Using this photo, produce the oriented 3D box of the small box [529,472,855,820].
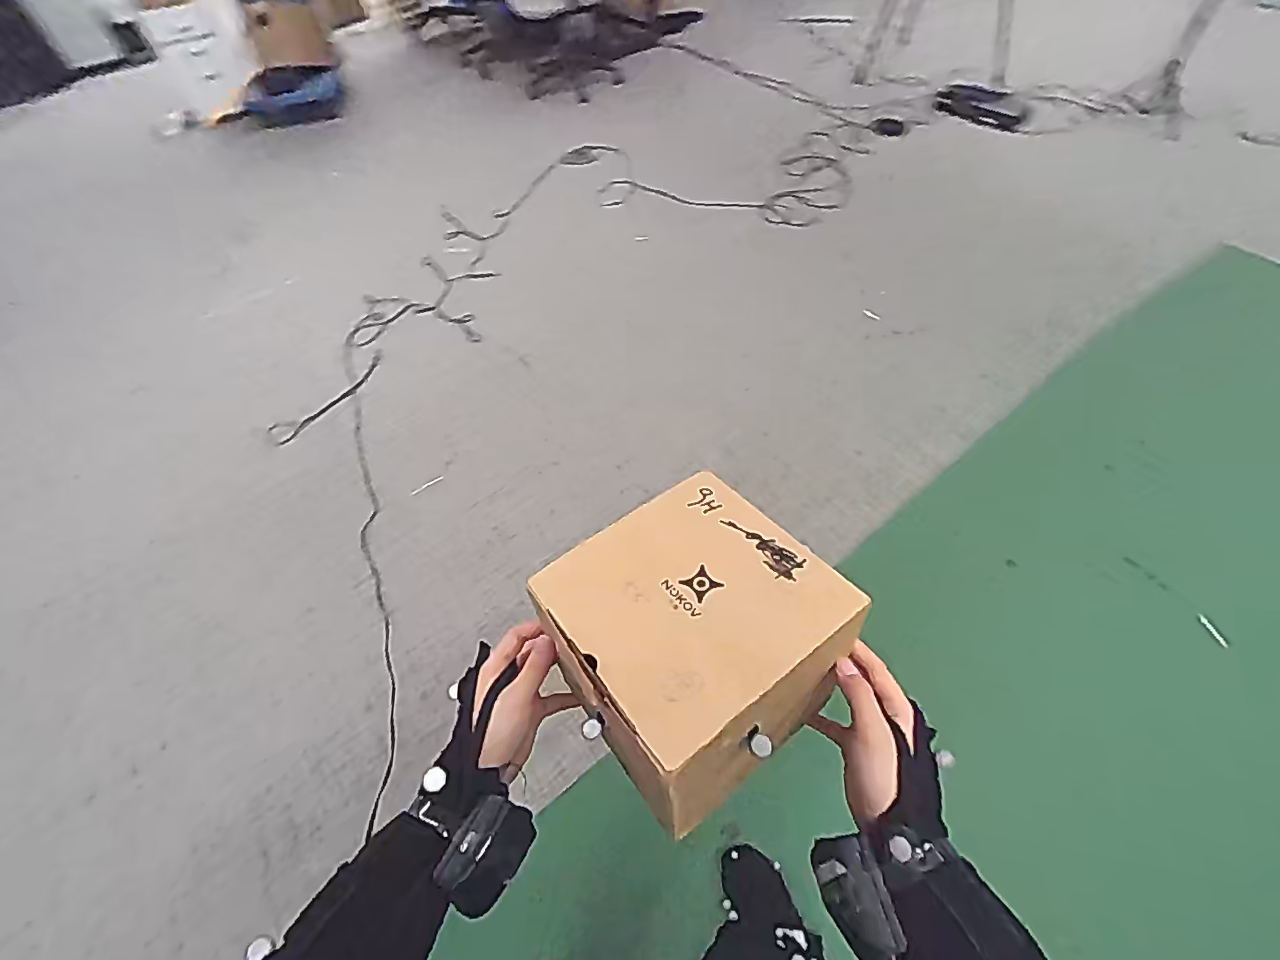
[{"bbox_3d":[0.041,0.133,0.439,0.179,0.176,0.168,-32,51,-22],"label":"small box"}]
